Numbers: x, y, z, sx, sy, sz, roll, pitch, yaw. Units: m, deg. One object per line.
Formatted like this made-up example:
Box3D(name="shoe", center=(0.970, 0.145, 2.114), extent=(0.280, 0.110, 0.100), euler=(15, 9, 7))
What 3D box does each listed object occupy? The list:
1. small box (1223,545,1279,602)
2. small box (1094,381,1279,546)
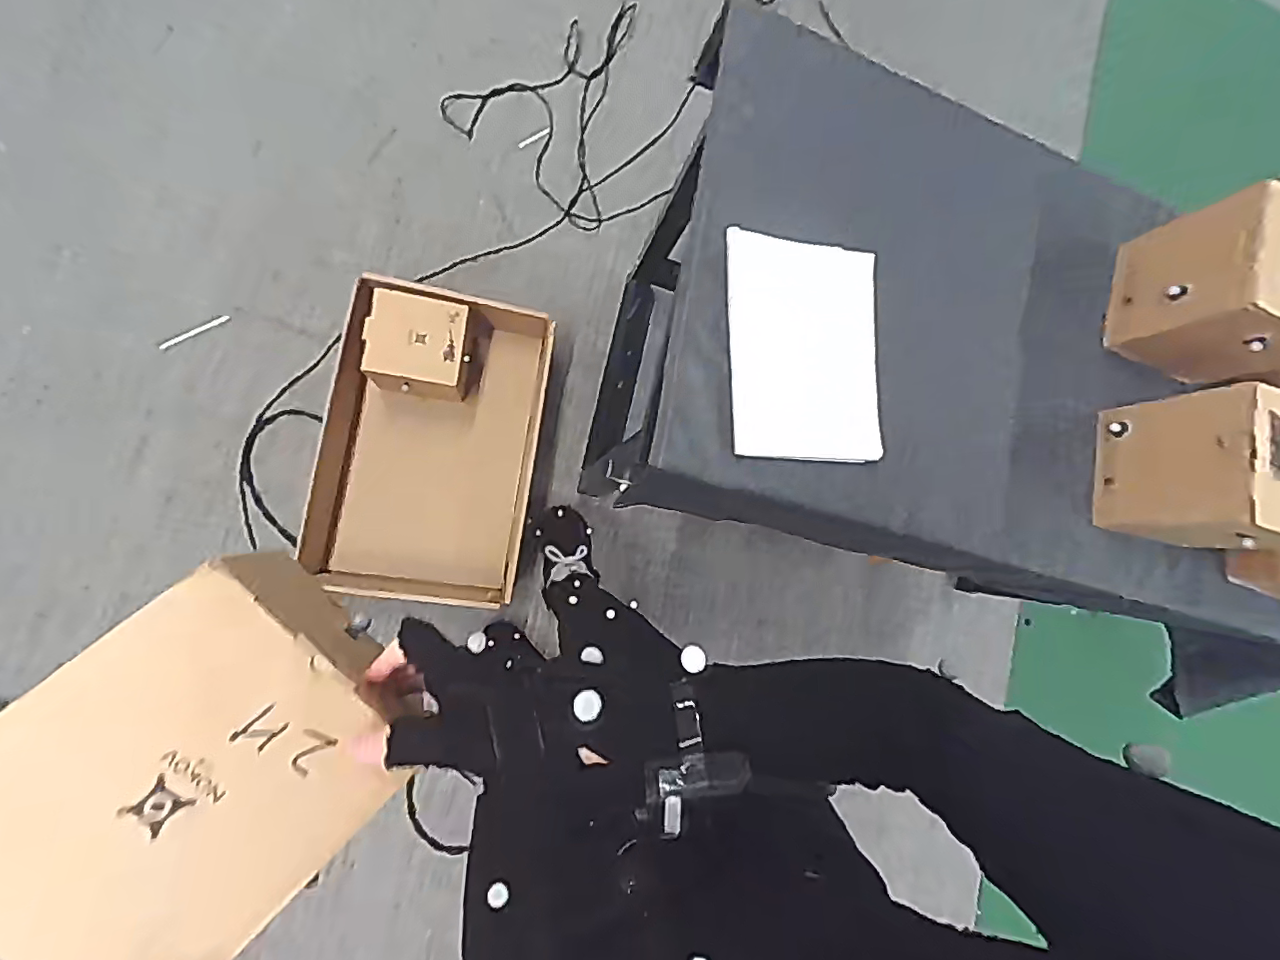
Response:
Box3D(name="small box", center=(0.972, 0.079, 0.749), extent=(0.168, 0.176, 0.179), euler=(19, 81, -12))
Box3D(name="small box", center=(0.732, -0.009, 0.692), extent=(0.179, 0.176, 0.168), euler=(12, 83, -14))
